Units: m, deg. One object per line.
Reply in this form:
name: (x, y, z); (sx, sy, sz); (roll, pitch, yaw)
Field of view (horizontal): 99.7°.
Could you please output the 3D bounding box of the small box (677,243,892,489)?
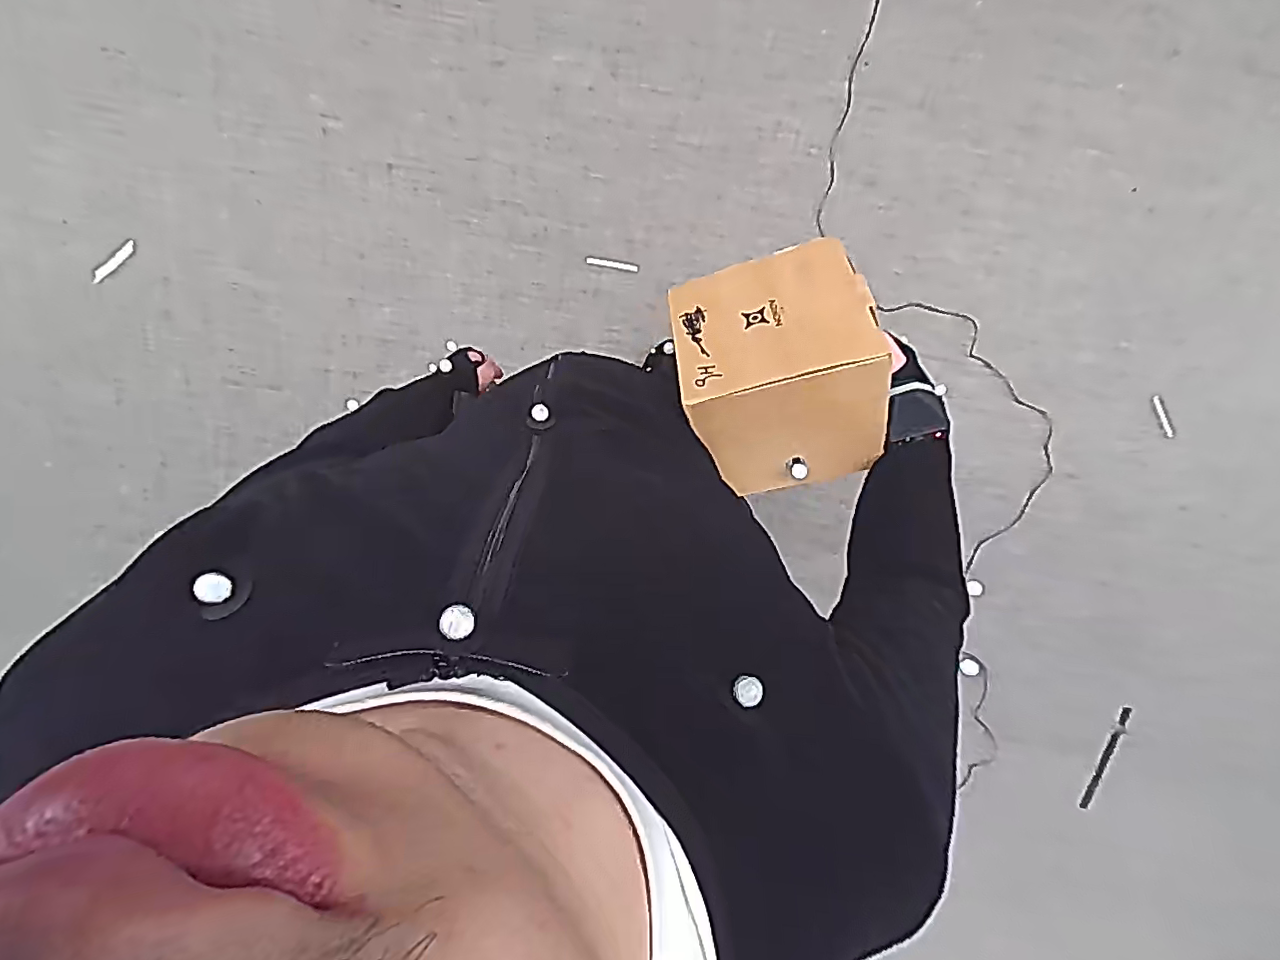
small box: (0.148, -0.111, 0.579); (0.179, 0.168, 0.176); (-13, 144, 13)
